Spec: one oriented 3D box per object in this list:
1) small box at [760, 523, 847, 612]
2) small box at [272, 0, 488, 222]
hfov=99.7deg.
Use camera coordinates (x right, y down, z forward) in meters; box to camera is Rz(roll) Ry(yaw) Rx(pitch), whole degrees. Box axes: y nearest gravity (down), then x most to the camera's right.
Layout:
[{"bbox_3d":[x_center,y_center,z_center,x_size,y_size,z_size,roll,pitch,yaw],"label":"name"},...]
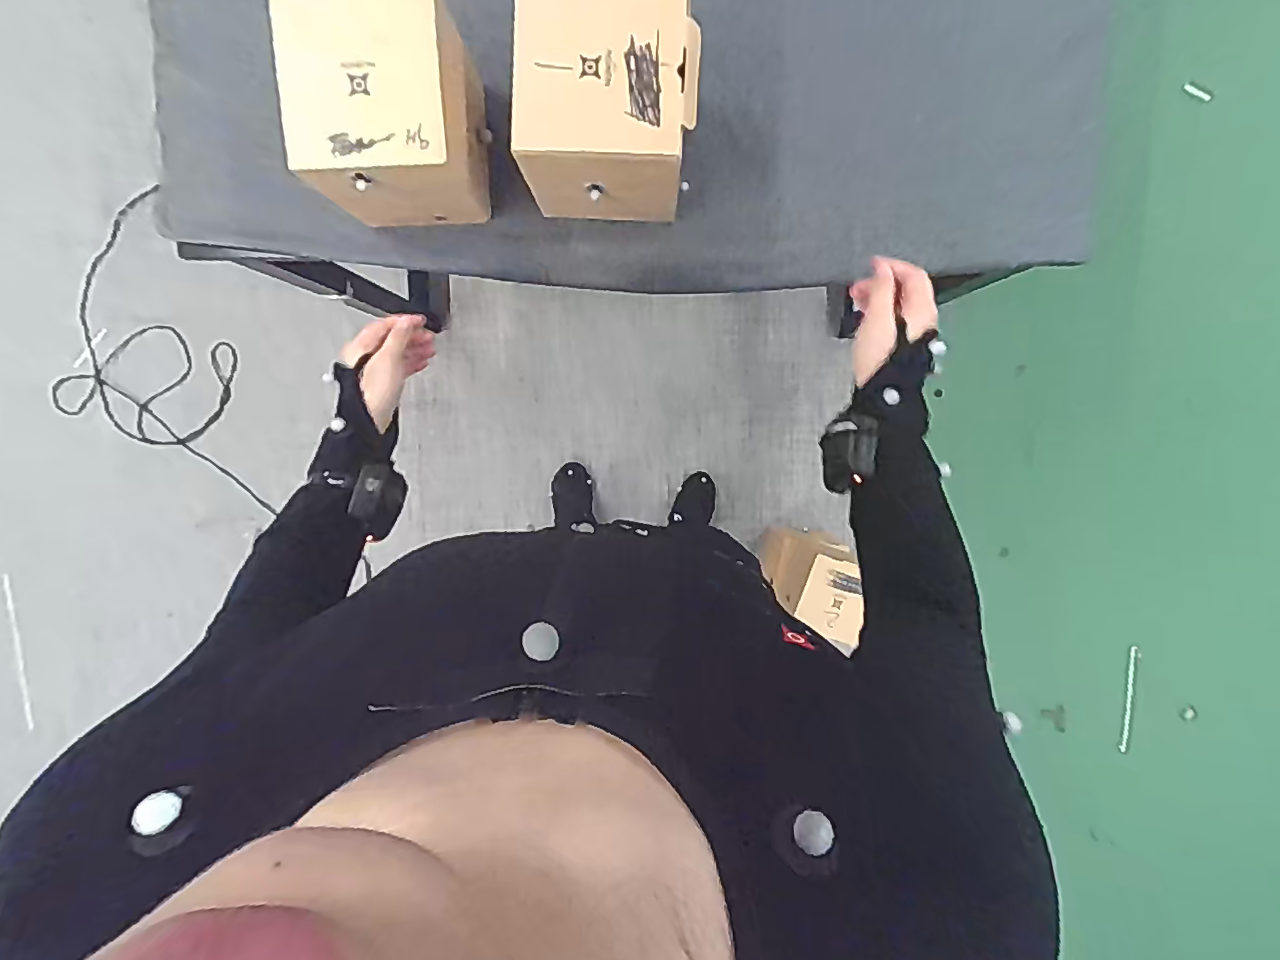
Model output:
[{"bbox_3d":[0.419,0.223,1.417,0.168,0.176,0.179,9,97,0],"label":"small box"},{"bbox_3d":[-0.281,-0.418,0.620,0.168,0.176,0.179,-1,96,2],"label":"small box"}]
